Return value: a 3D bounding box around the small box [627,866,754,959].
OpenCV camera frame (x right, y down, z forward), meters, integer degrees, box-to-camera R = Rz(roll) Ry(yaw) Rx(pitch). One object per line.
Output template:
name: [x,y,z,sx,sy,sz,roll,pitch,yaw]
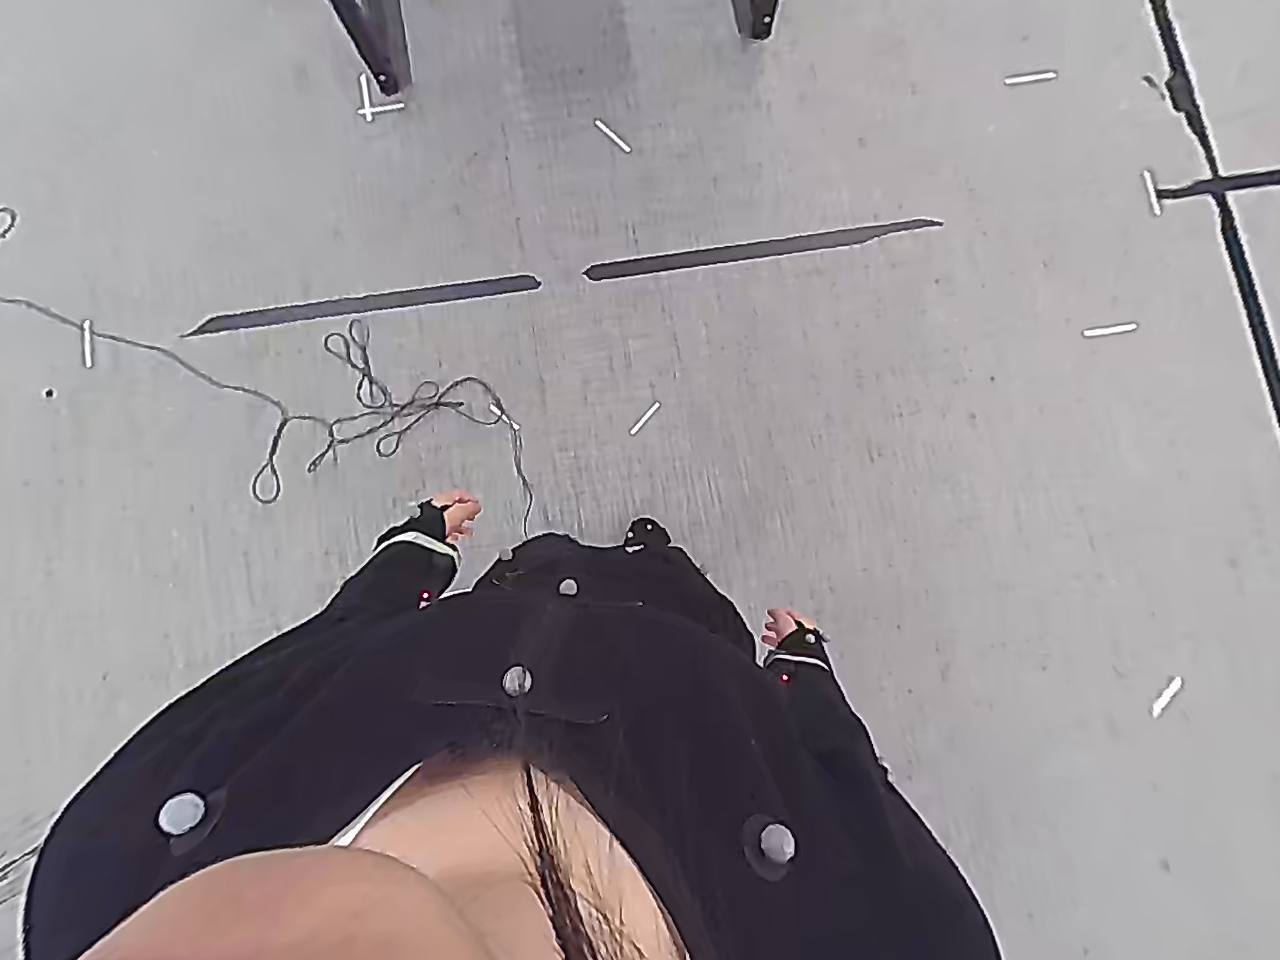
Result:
small box: [0.068,0.679,0.763,0.168,0.176,0.179,-5,84,0]
